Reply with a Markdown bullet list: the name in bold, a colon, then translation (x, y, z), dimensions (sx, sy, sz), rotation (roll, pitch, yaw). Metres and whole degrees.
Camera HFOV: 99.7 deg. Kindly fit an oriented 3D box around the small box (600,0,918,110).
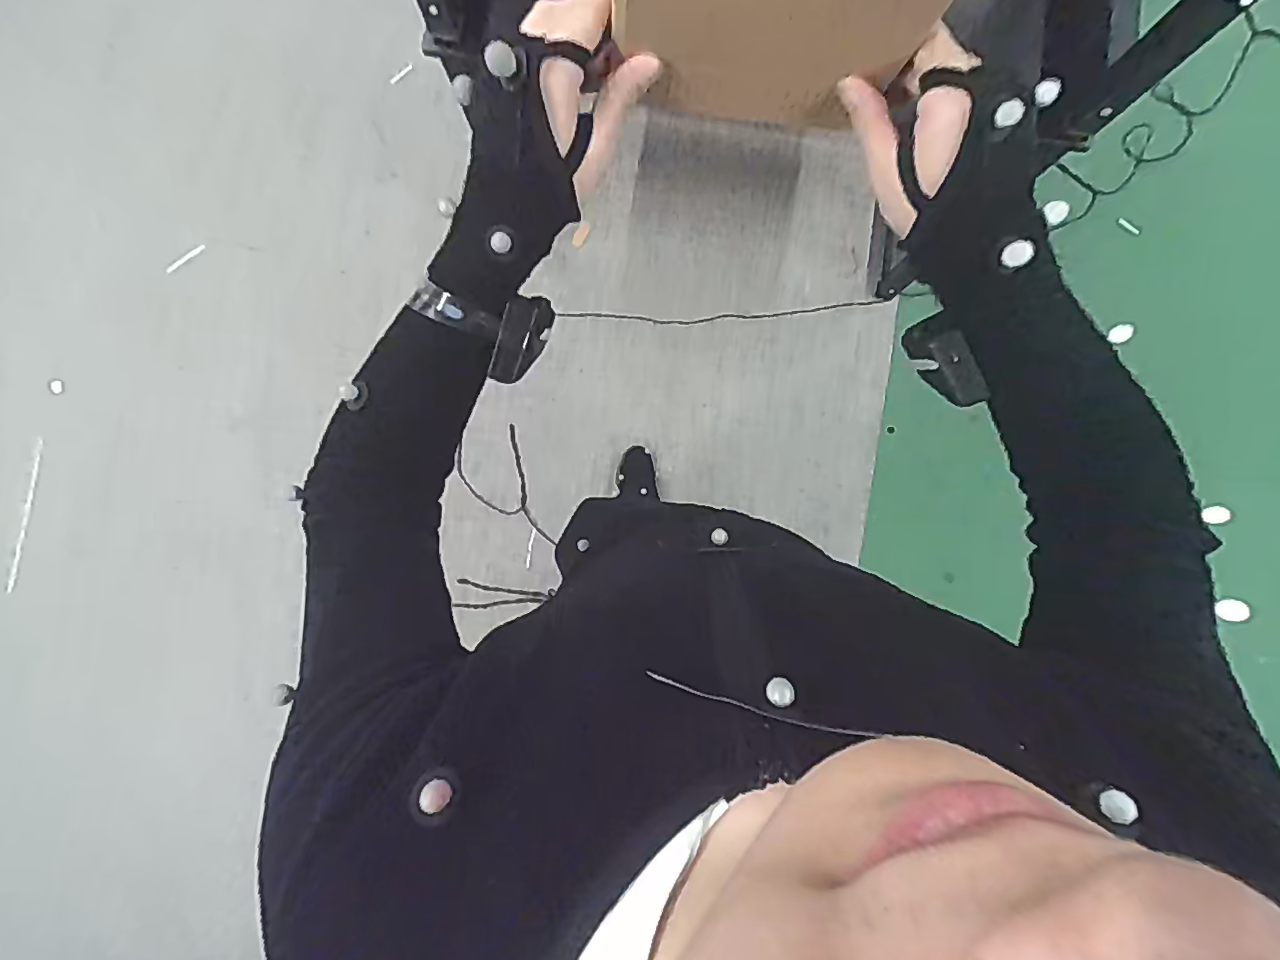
- **small box**: translation (0.071, -0.330, 0.280), dimensions (0.179, 0.176, 0.168), rotation (5, 93, -4)
